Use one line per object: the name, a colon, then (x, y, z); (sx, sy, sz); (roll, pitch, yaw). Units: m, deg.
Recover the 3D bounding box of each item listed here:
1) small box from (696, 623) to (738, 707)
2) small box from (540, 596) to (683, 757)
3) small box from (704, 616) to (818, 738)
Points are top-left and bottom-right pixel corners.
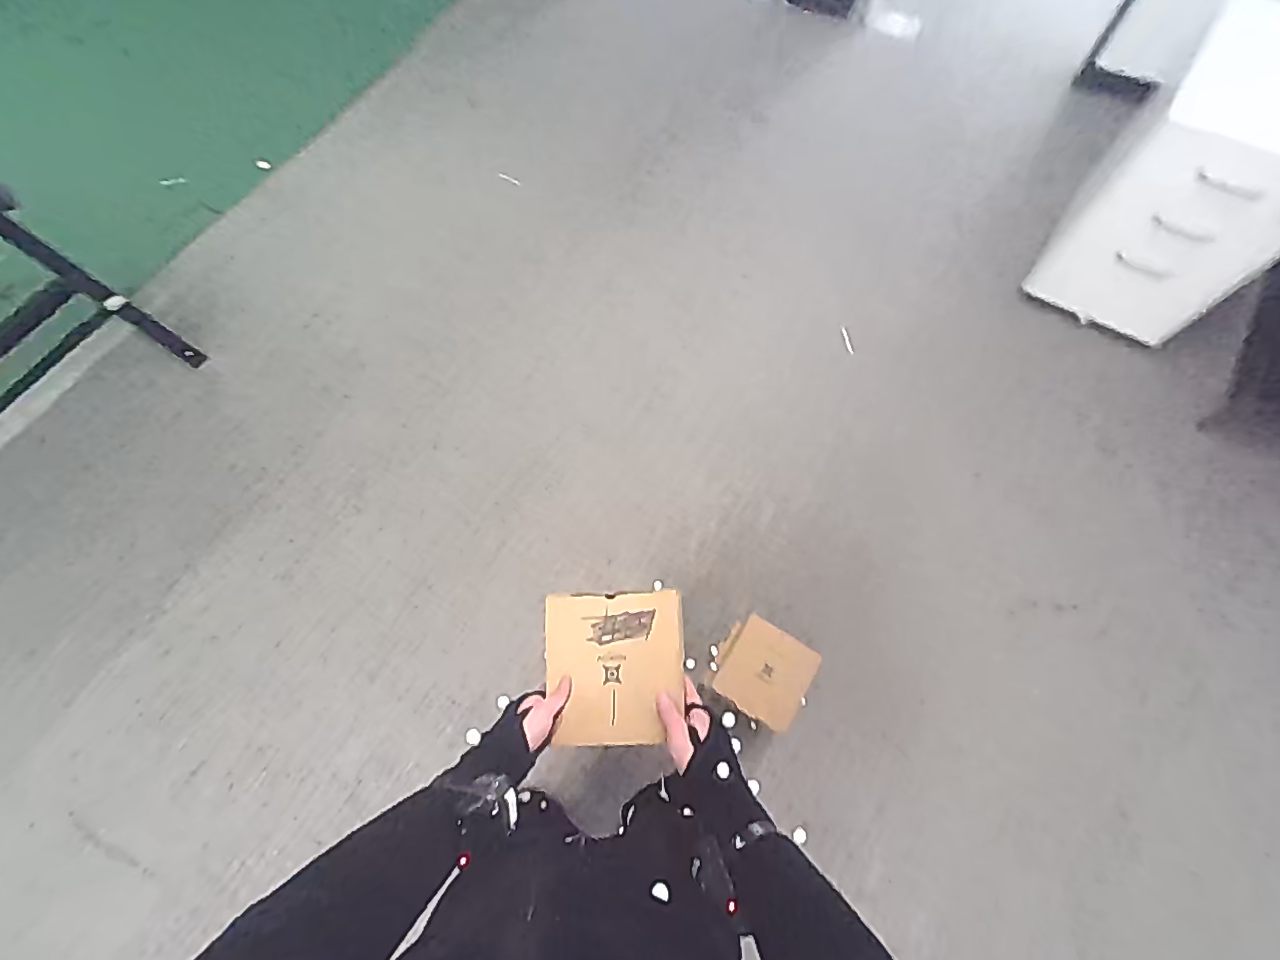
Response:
small box: (0.252, 0.480, 1.330); (0.179, 0.176, 0.168); (30, 71, 12)
small box: (-0.027, 0.246, 0.718); (0.168, 0.176, 0.179); (0, 79, 5)
small box: (0.249, 0.421, 1.158); (0.168, 0.176, 0.179); (32, 71, 12)
